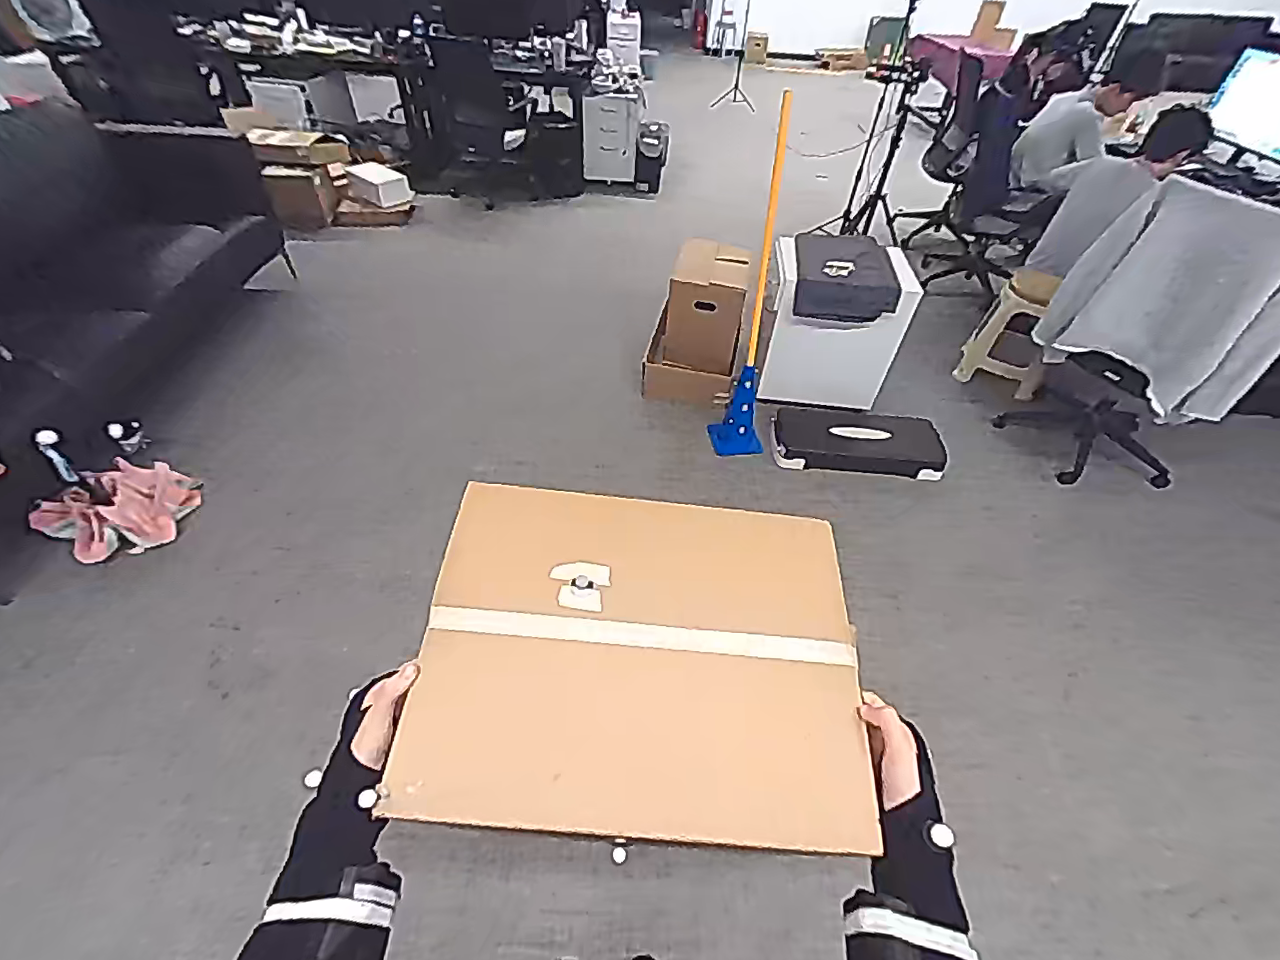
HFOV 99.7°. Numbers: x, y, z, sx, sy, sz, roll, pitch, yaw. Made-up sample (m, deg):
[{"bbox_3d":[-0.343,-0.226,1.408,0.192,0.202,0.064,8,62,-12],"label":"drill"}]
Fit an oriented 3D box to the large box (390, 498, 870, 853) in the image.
[{"bbox_3d":[-0.007,0.245,0.646,0.408,0.320,0.320,6,55,-2],"label":"large box"}]
